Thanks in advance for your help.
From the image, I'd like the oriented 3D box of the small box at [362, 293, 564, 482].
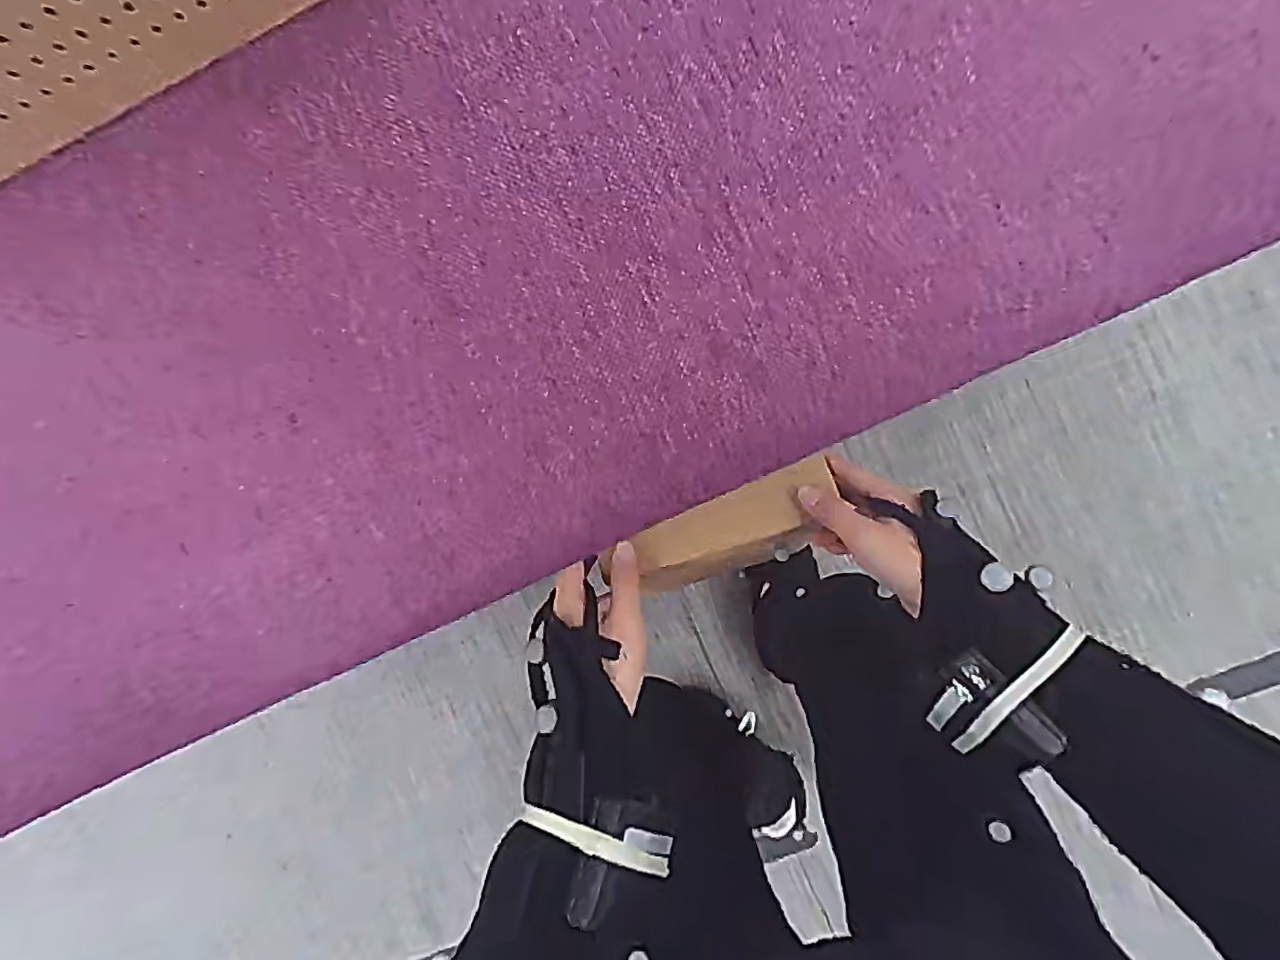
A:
[{"bbox_3d":[-0.209,-0.109,0.689,0.168,0.176,0.179,-18,92,3],"label":"small box"}]
